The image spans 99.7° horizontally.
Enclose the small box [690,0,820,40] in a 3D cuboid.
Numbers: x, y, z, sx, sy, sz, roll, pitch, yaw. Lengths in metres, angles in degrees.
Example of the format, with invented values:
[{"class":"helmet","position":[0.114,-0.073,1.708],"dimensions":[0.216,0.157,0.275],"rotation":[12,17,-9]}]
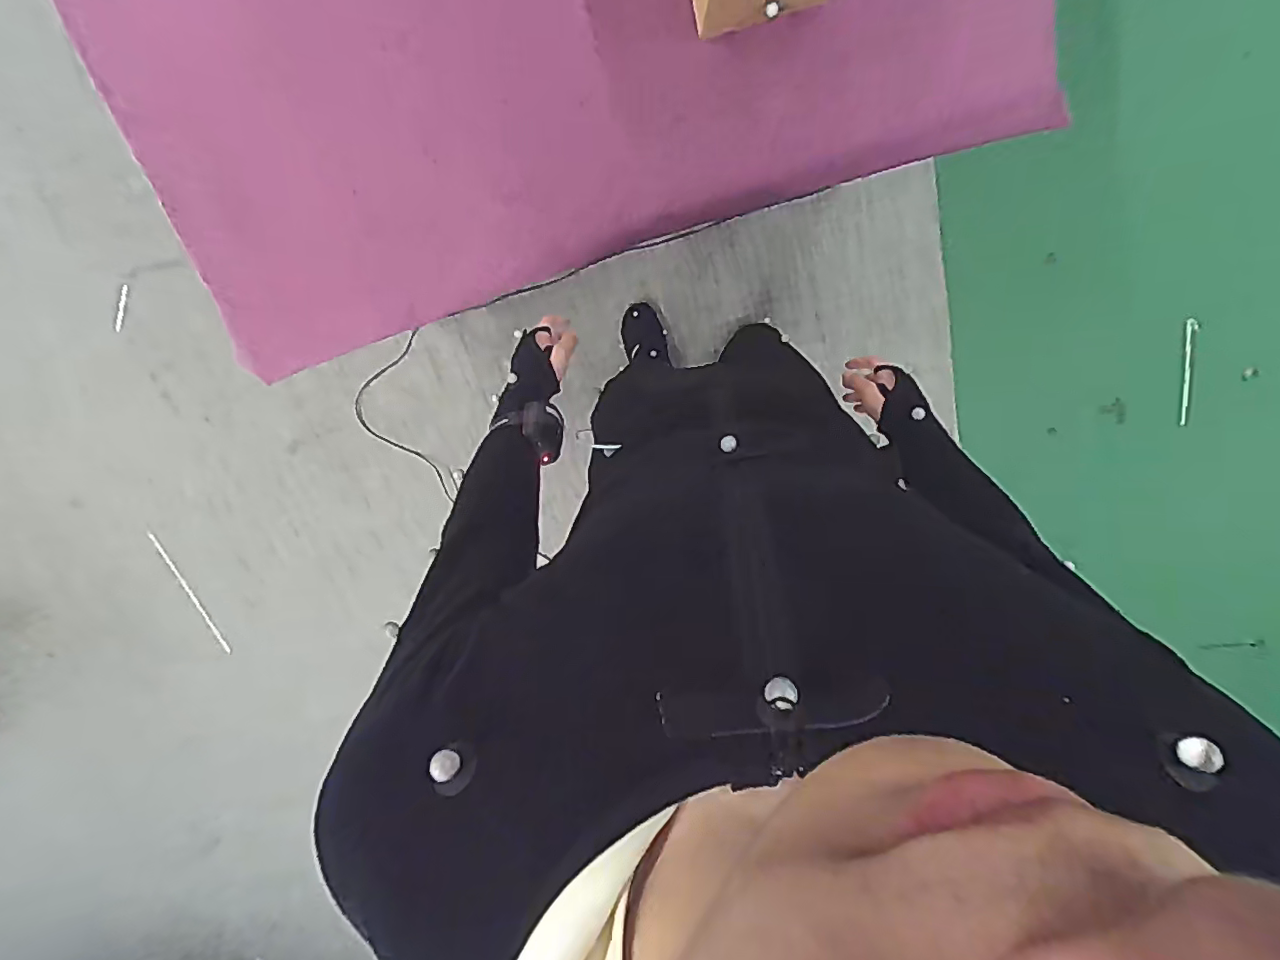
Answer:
[{"class":"small box","position":[0.132,-0.639,0.593],"dimensions":[0.168,0.176,0.179],"rotation":[-13,109,5]}]
